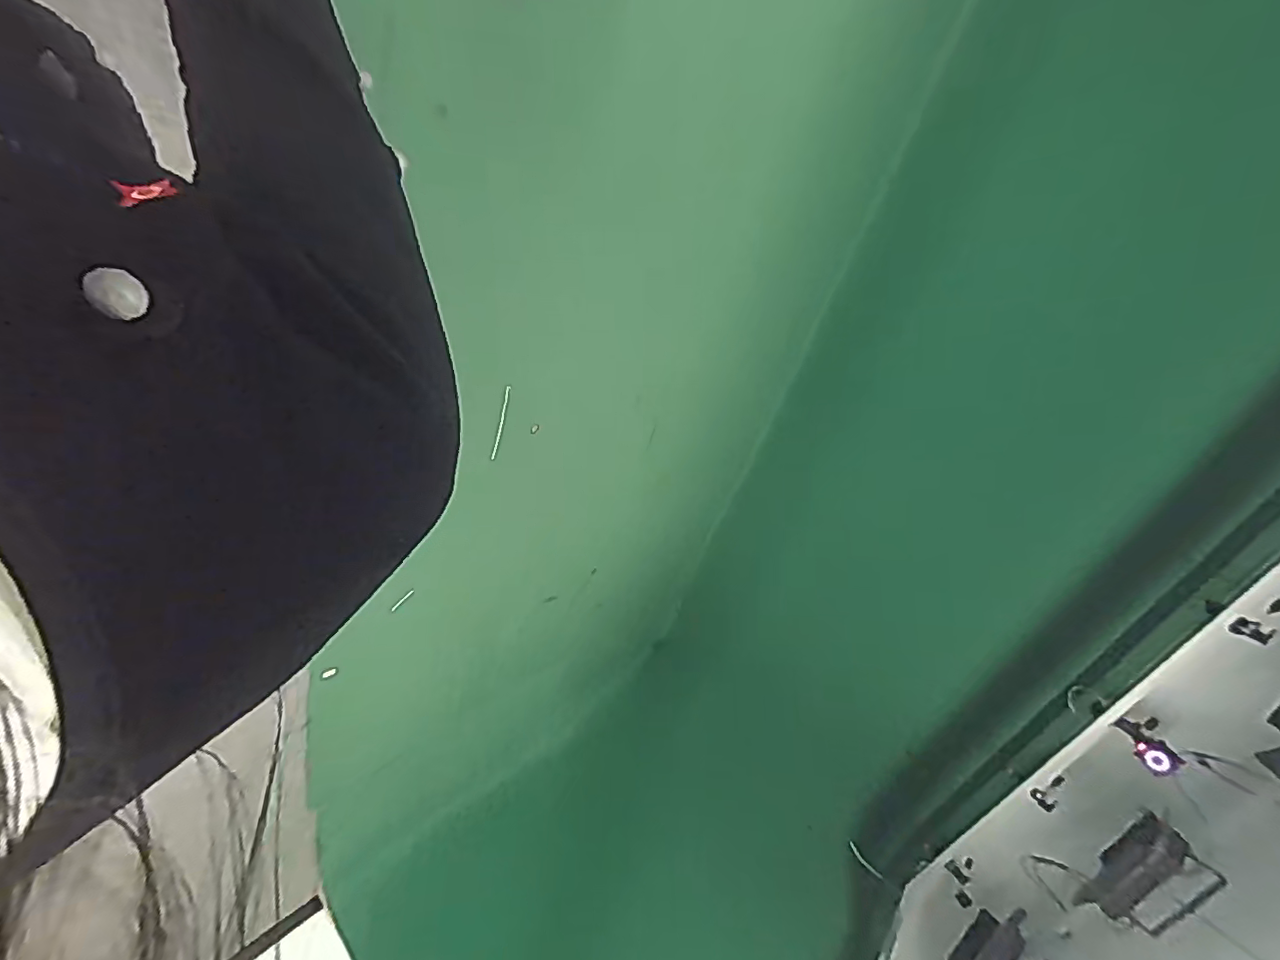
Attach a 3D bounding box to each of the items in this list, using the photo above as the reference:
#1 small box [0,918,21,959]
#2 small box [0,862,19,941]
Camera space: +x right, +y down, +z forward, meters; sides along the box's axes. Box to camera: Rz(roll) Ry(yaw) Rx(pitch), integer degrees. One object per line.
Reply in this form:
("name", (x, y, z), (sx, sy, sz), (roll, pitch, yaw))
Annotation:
("small box", (-1.713, 1.280, 1.378), (0.168, 0.176, 0.179), (-18, 135, -50))
("small box", (-1.827, 1.192, 1.454), (0.179, 0.176, 0.168), (-14, 133, -50))
